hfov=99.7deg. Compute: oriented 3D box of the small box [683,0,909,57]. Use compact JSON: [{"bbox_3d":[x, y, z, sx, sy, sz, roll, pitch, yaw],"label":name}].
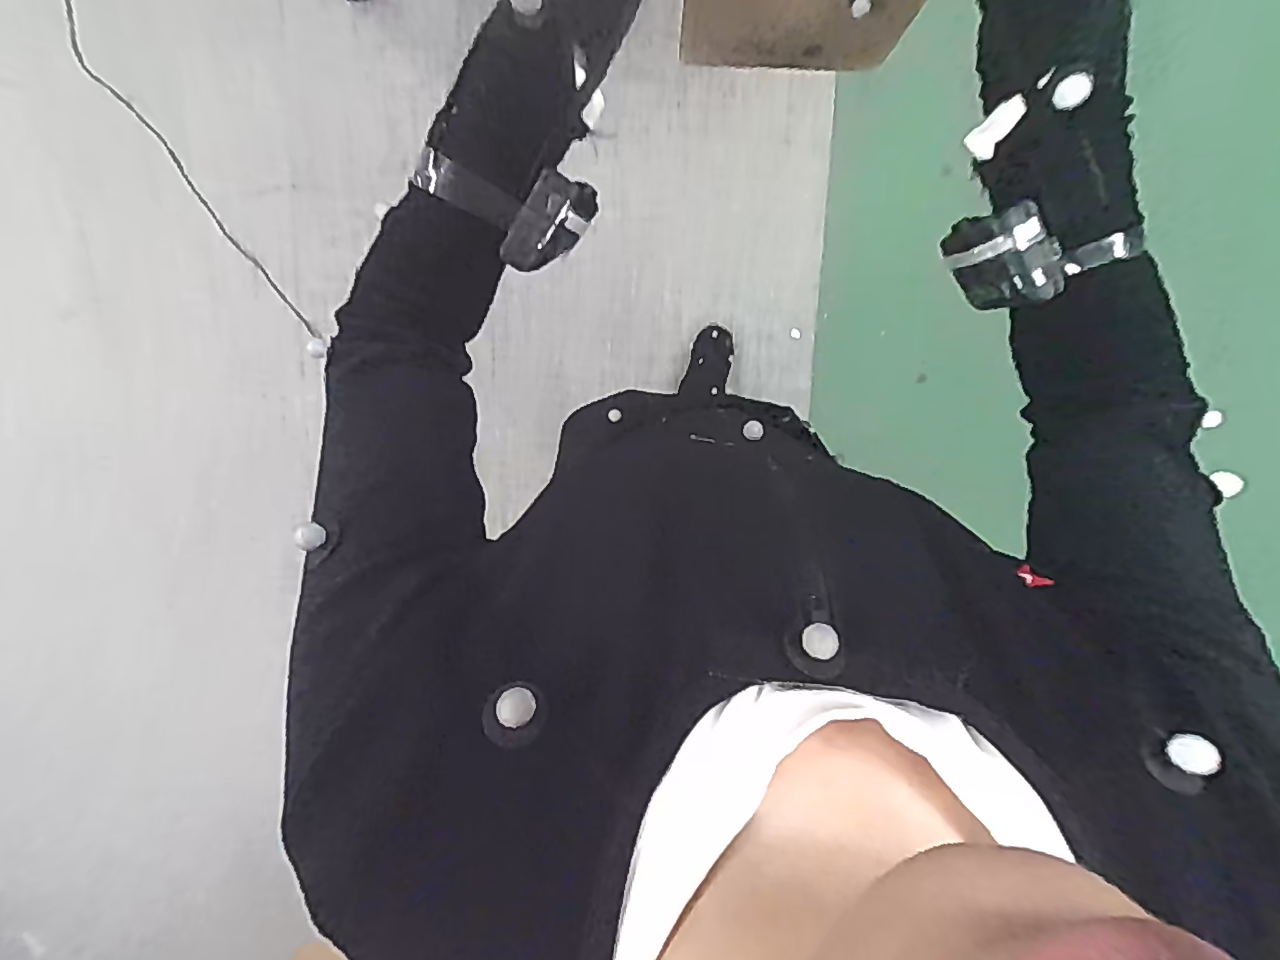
[{"bbox_3d":[0.118,-0.421,0.355,0.168,0.176,0.179,2,97,0],"label":"small box"}]
